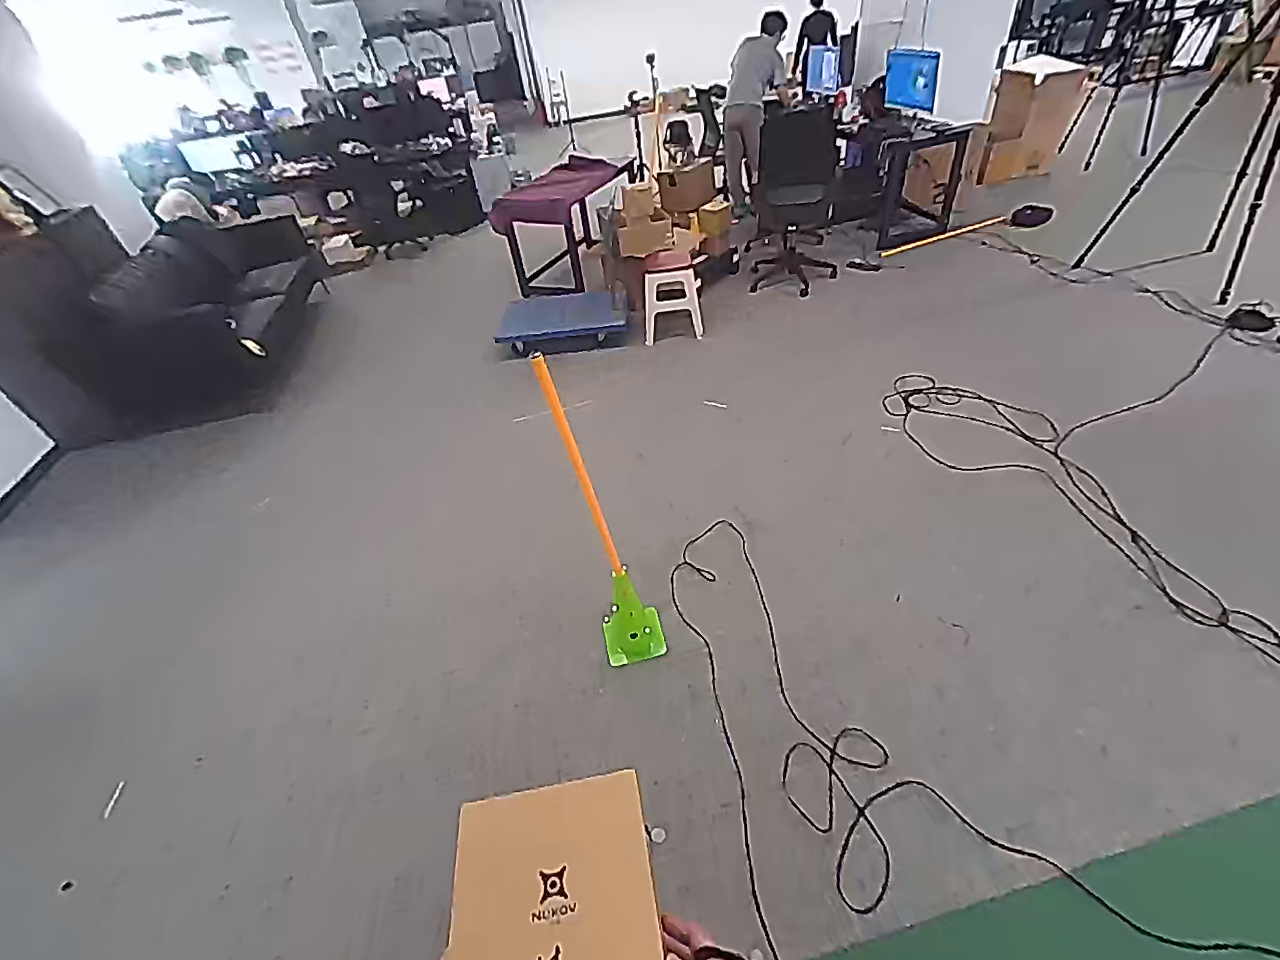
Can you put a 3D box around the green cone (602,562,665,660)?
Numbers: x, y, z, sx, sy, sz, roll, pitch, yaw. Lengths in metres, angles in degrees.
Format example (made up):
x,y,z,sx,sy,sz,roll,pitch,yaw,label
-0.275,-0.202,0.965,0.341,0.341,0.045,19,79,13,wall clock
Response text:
x,y,z,sx,sy,sz,roll,pitch,yaw,label
-0.042,0.408,1.798,0.202,0.368,0.200,-12,42,-5,green cone
